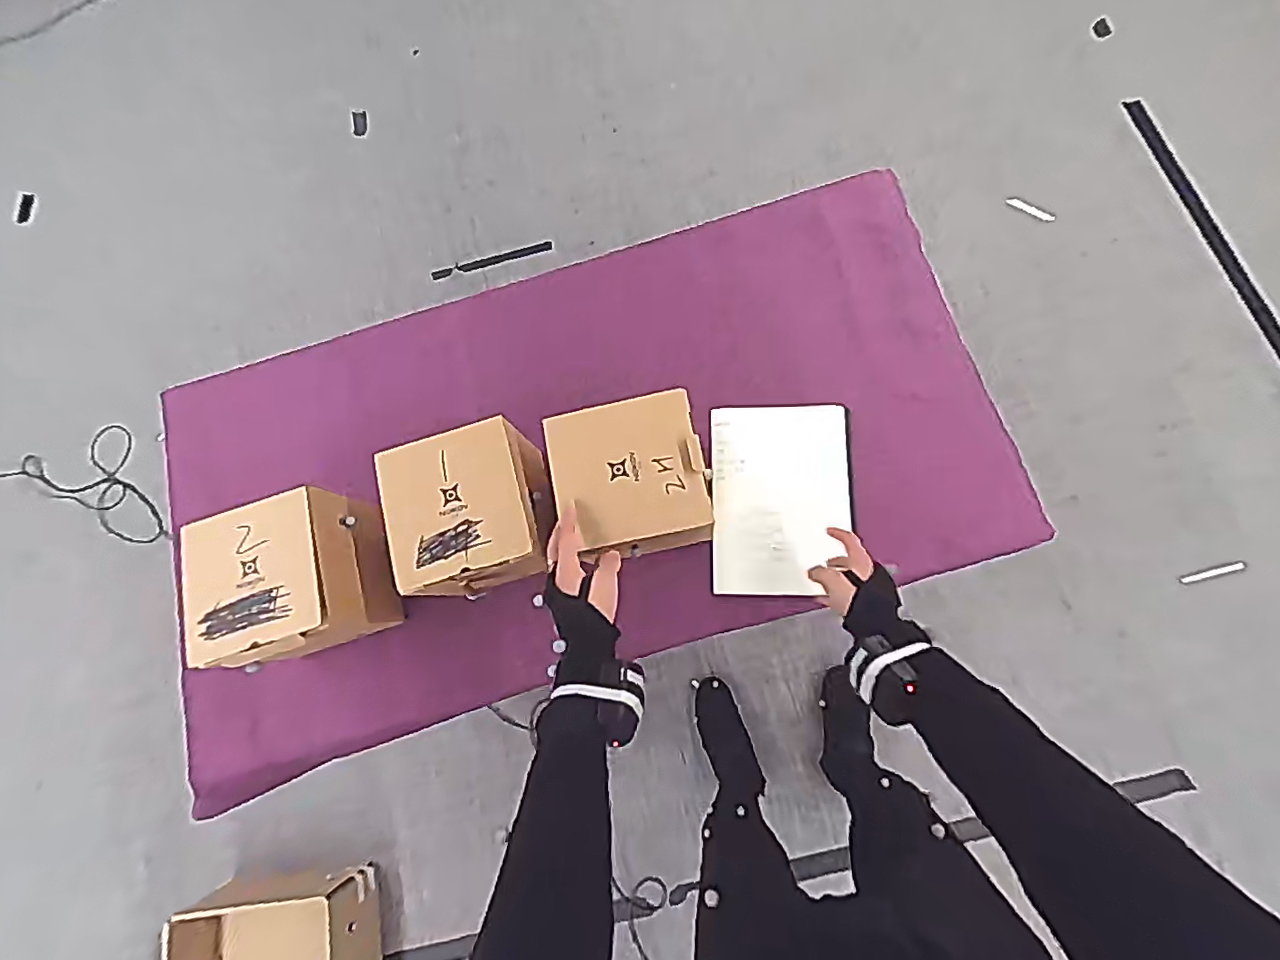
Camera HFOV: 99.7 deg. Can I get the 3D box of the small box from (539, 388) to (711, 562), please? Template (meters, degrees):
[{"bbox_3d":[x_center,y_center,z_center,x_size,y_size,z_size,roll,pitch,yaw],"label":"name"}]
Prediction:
[{"bbox_3d":[-0.012,0.005,0.690,0.179,0.176,0.168,-13,76,2],"label":"small box"}]
